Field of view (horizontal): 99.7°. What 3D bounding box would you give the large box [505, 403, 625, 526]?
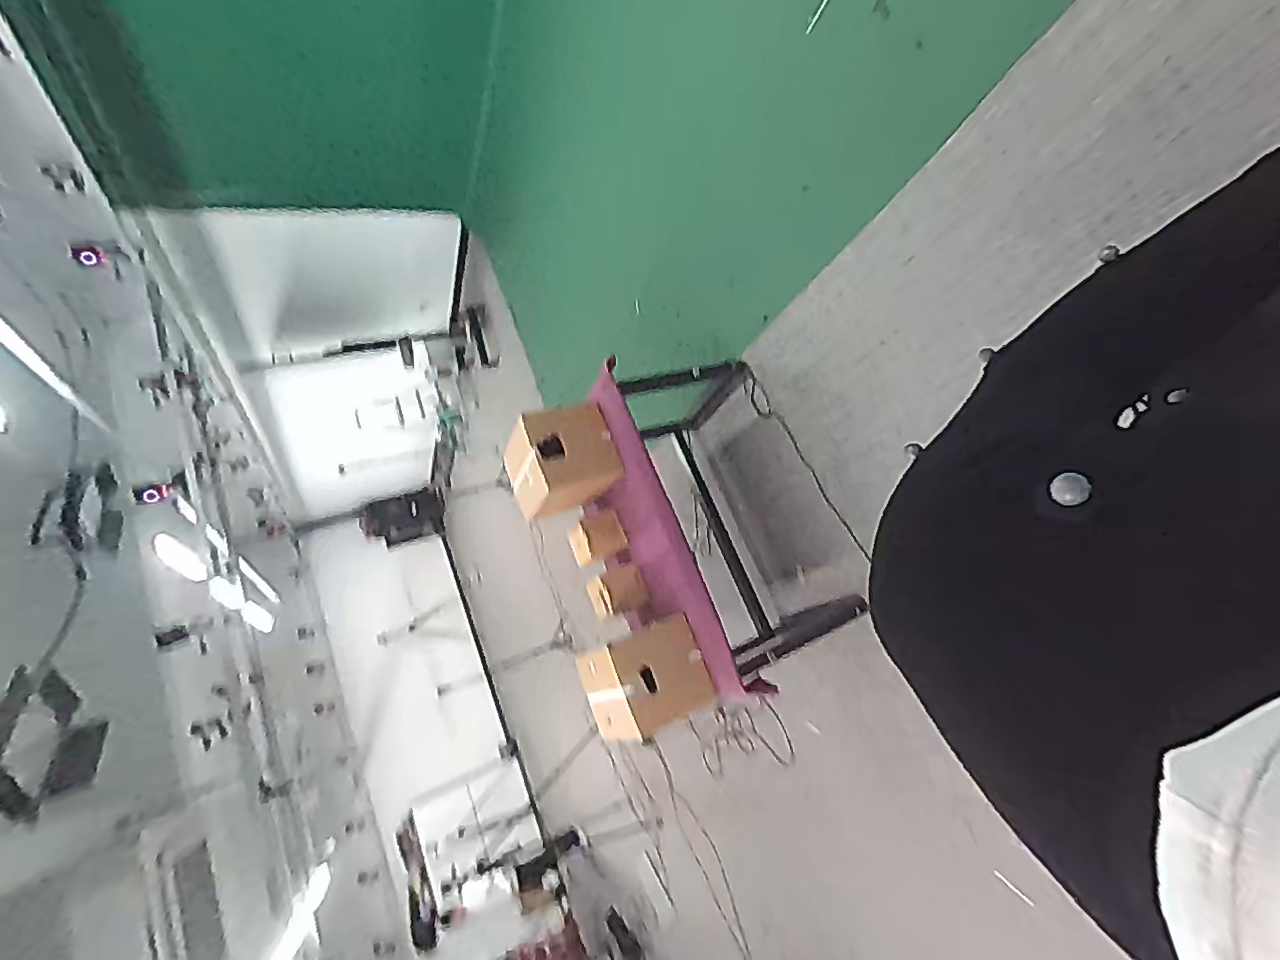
[{"bbox_3d":[-0.306,-0.058,2.133,0.320,0.320,0.408,66,150,12],"label":"large box"}]
